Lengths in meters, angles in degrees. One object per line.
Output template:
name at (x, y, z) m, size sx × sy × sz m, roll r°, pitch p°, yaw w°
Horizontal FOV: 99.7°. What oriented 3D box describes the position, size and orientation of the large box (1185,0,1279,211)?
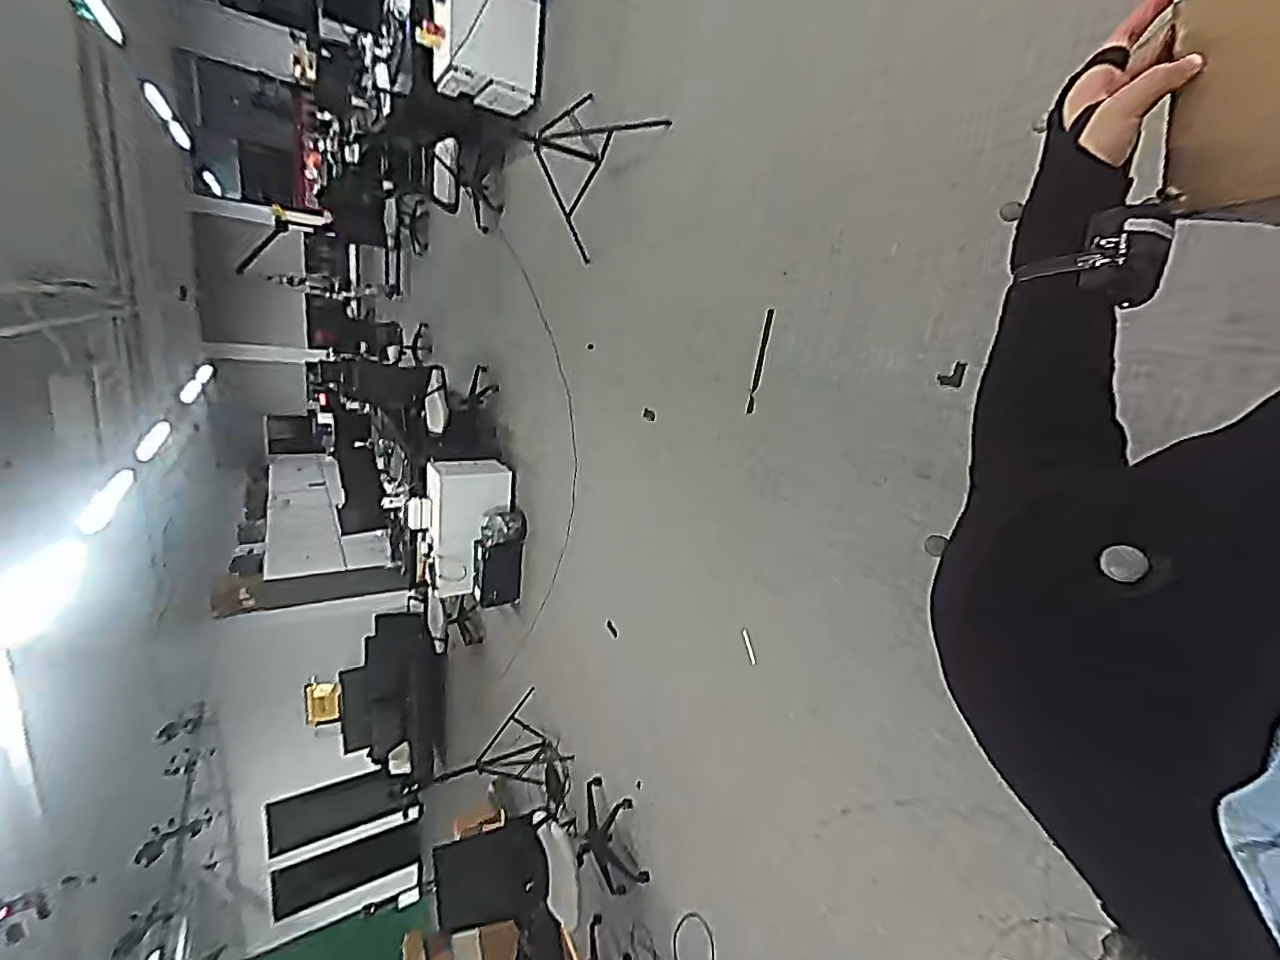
large box at (0.624, -0.364, 0.282) m, size 0.408 × 0.320 × 0.320 m, roll 13°, pitch 112°, yaw 59°
